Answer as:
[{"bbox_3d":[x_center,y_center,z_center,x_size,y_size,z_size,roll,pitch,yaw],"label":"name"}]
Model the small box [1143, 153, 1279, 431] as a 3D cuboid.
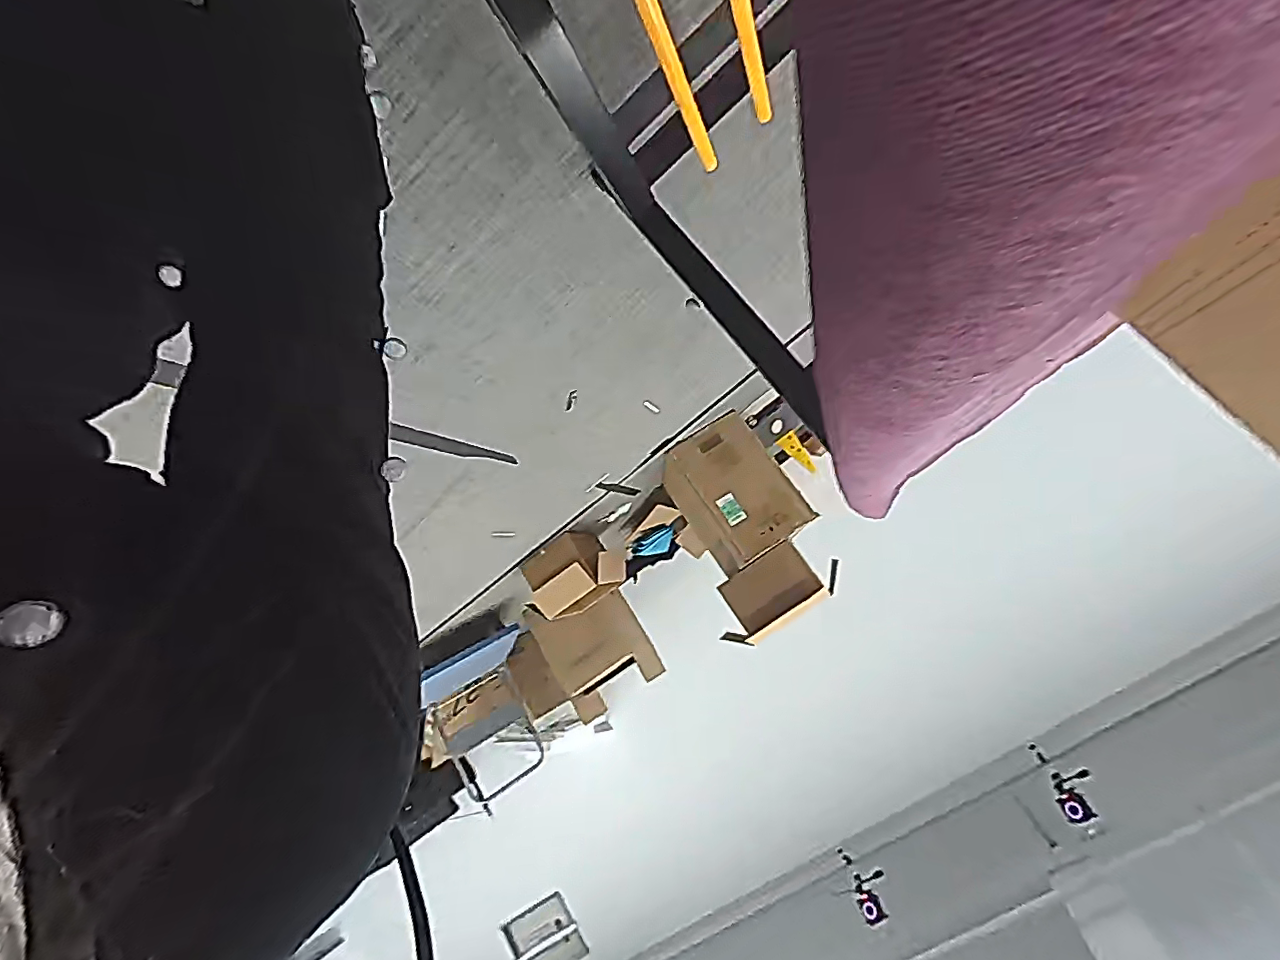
[{"bbox_3d":[0.325,-0.092,0.165,0.168,0.176,0.179,-40,163,11],"label":"small box"}]
